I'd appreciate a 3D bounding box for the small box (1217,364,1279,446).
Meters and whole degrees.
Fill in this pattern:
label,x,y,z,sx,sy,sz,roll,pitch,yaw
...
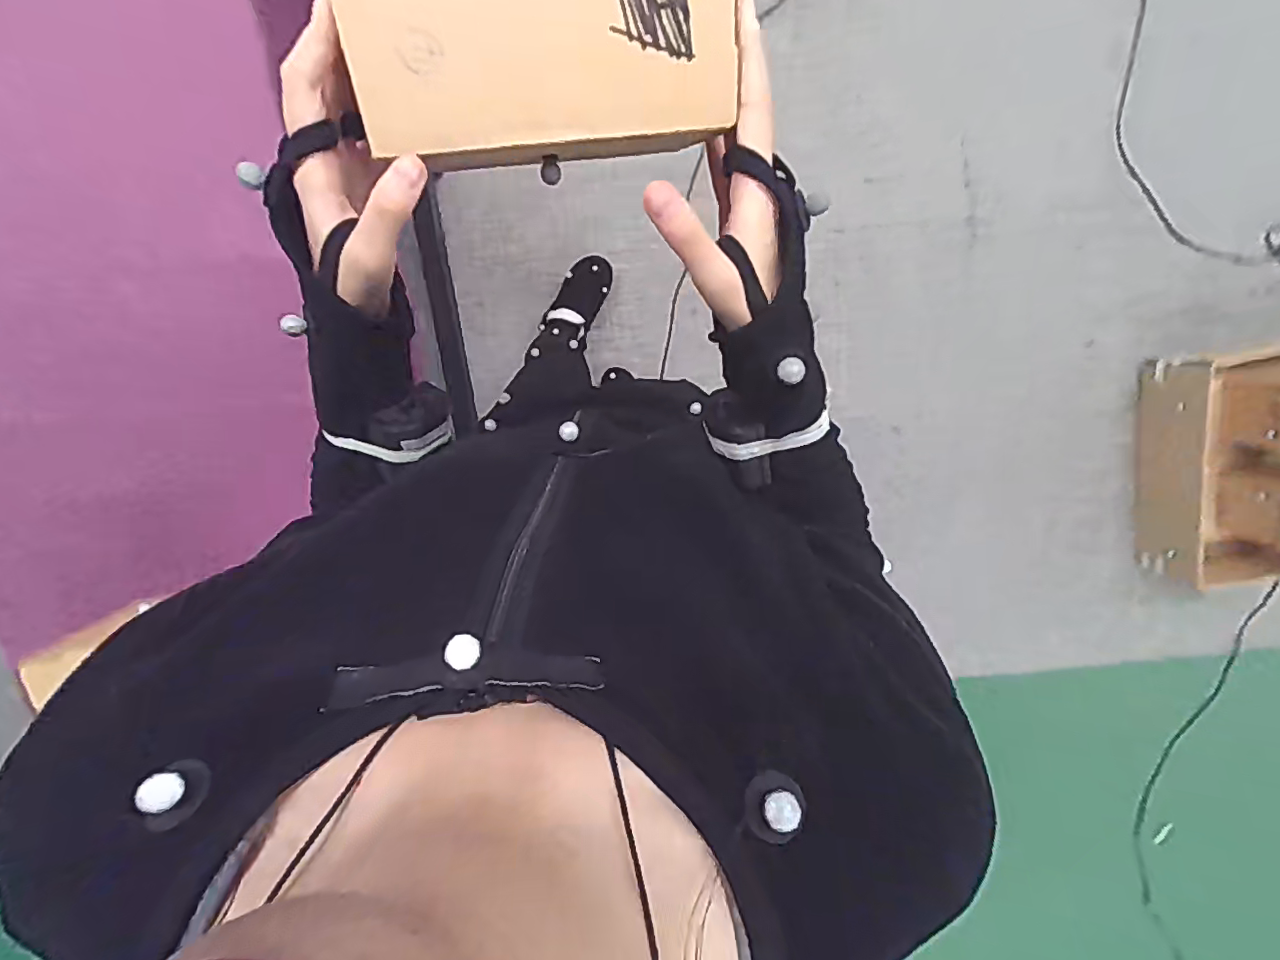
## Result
label,x,y,z,sx,sy,sz,roll,pitch,yaw
small box,1.621,-0.193,1.359,0.168,0.176,0.179,-10,106,4

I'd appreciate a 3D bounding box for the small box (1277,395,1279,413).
label,x,y,z,sx,sy,sz,roll,pitch,yaw
small box,1.606,-0.139,1.206,0.168,0.176,0.179,-26,104,8

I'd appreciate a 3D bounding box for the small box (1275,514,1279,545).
label,x,y,z,sx,sy,sz,roll,pitch,yaw
small box,1.678,0.095,1.265,0.179,0.176,0.168,-9,104,3

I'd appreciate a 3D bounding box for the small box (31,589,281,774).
label,x,y,z,sx,sy,sz,roll,pitch,yaw
small box,-0.647,0.265,0.751,0.168,0.176,0.179,-8,104,1

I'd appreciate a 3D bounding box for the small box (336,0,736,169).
label,x,y,z,sx,sy,sz,roll,pitch,yaw
small box,-0.054,-0.270,0.295,0.179,0.176,0.168,-6,119,-3
